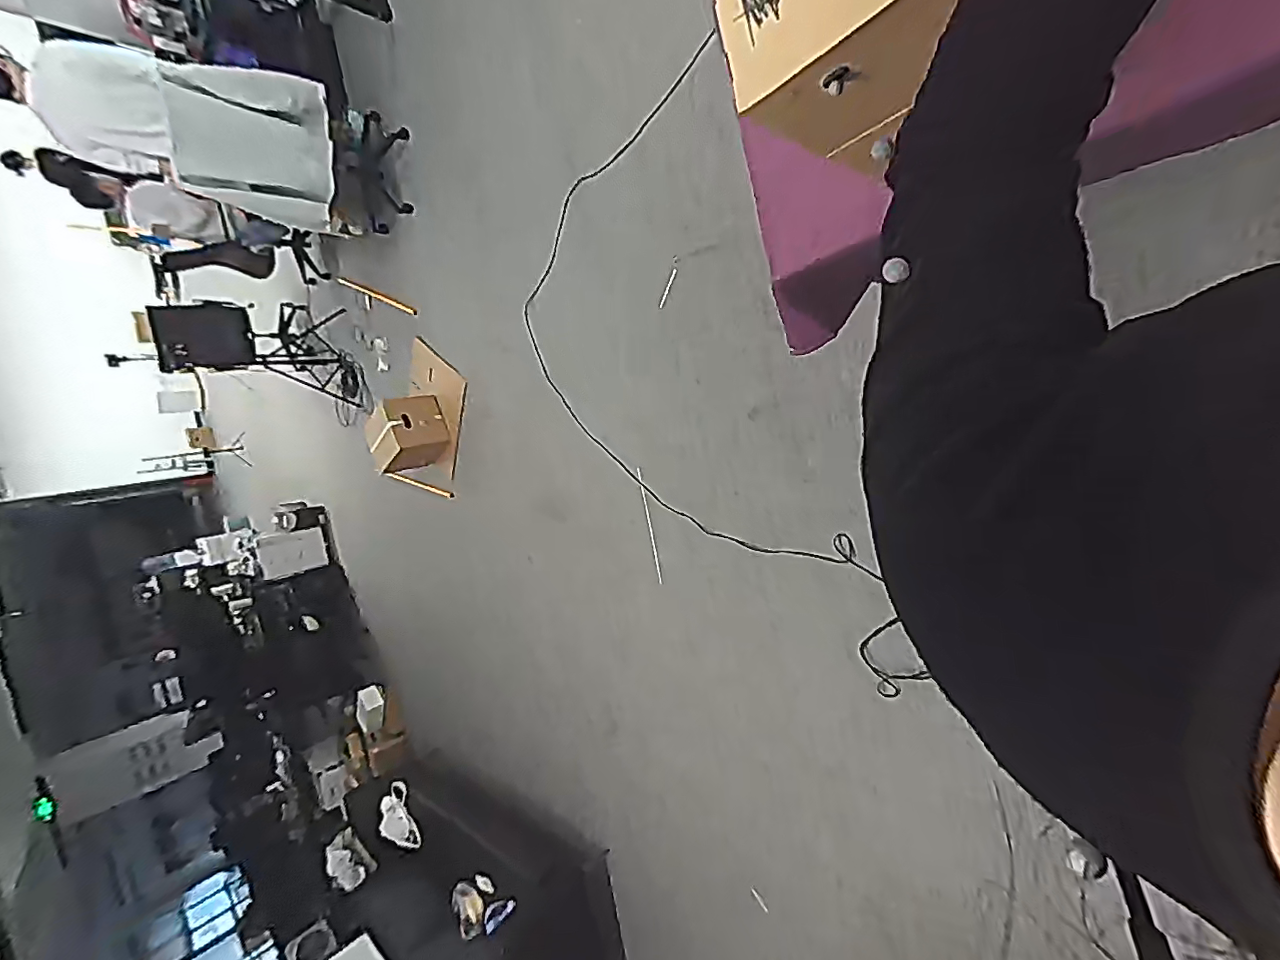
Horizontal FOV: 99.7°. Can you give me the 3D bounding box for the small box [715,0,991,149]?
[{"bbox_3d":[0.191,-0.442,0.495,0.179,0.176,0.168,-11,93,45],"label":"small box"}]
